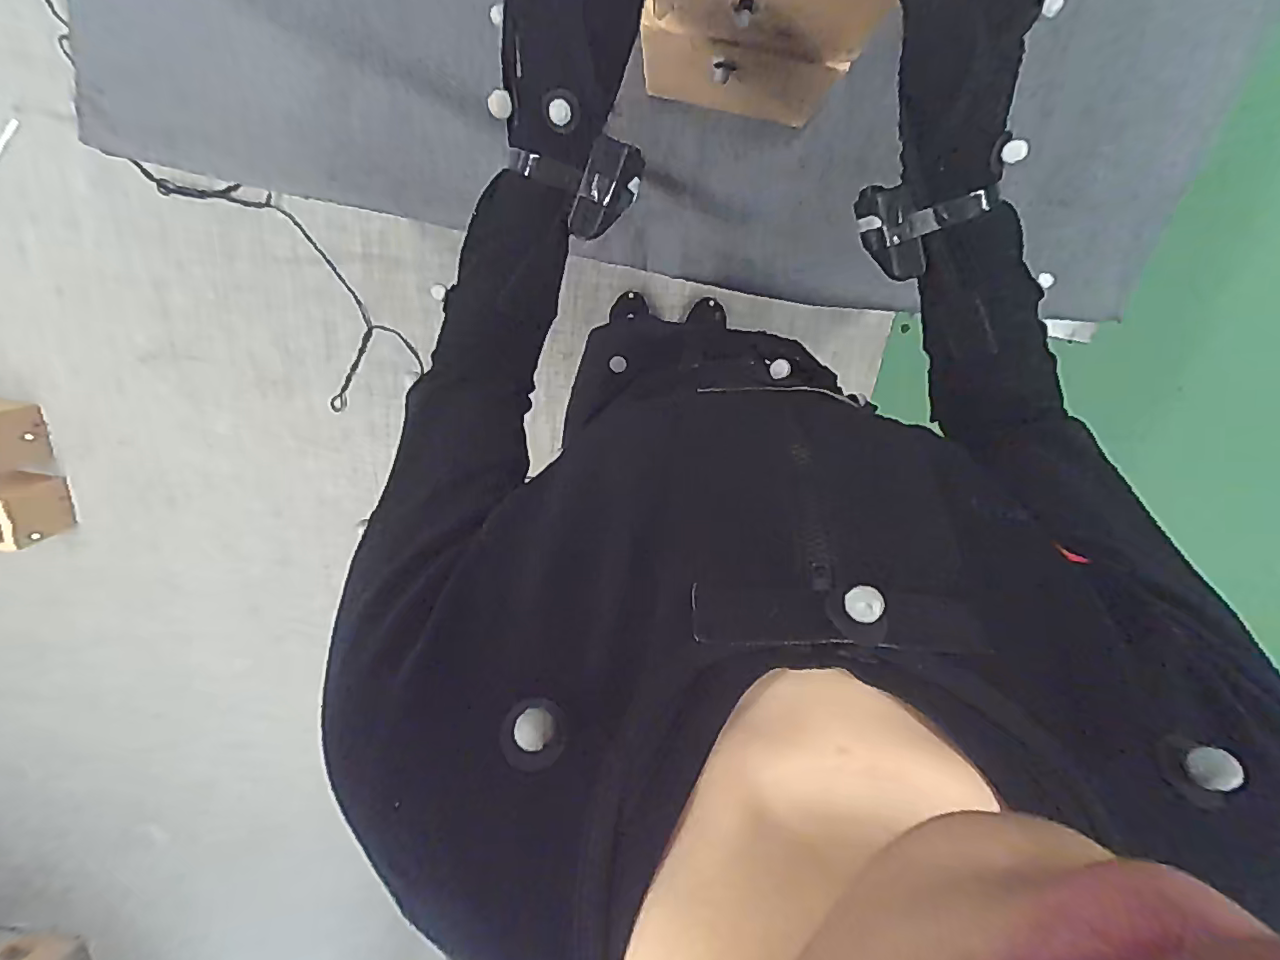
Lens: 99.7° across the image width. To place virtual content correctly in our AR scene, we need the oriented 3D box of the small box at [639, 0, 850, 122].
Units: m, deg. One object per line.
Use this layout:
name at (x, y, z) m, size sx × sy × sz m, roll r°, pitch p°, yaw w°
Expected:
small box at (0.103, -0.453, 0.491) m, size 0.179 × 0.176 × 0.168 m, roll 11°, pitch 110°, yaw -1°

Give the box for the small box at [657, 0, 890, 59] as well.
small box at (0.100, -0.408, 0.334) m, size 0.168 × 0.176 × 0.179 m, roll 10°, pitch 110°, yaw -1°

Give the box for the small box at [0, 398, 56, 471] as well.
small box at (-1.800, -0.126, 1.493) m, size 0.179 × 0.176 × 0.168 m, roll 7°, pitch 111°, yaw 1°
